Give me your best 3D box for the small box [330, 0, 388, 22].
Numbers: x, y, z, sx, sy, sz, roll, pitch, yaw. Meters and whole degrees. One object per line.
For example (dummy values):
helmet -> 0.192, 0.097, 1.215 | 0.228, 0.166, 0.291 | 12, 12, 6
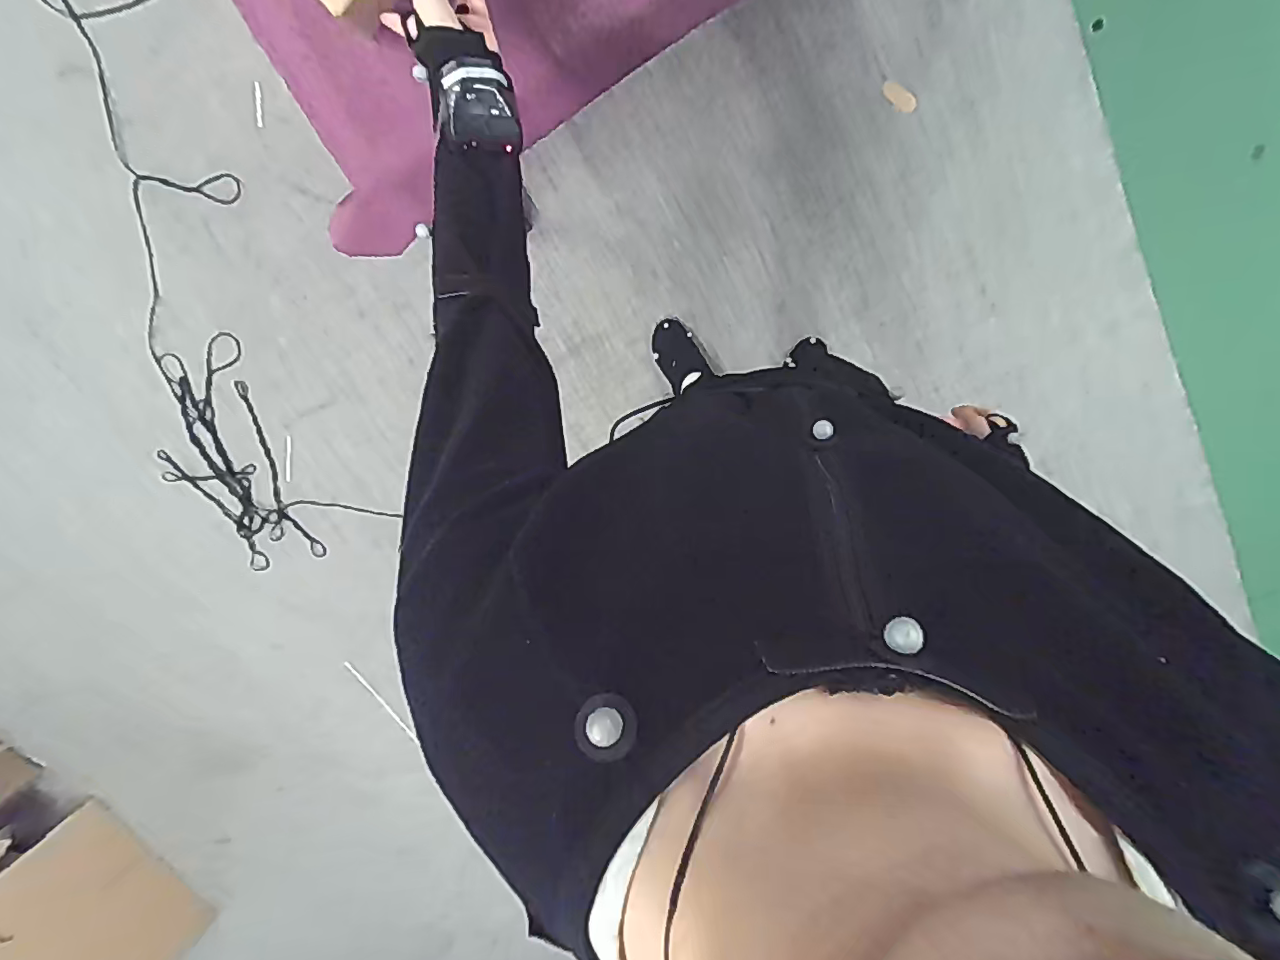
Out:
small box -> -0.290, -0.566, 0.479 | 0.168, 0.176, 0.179 | -42, 121, 12
